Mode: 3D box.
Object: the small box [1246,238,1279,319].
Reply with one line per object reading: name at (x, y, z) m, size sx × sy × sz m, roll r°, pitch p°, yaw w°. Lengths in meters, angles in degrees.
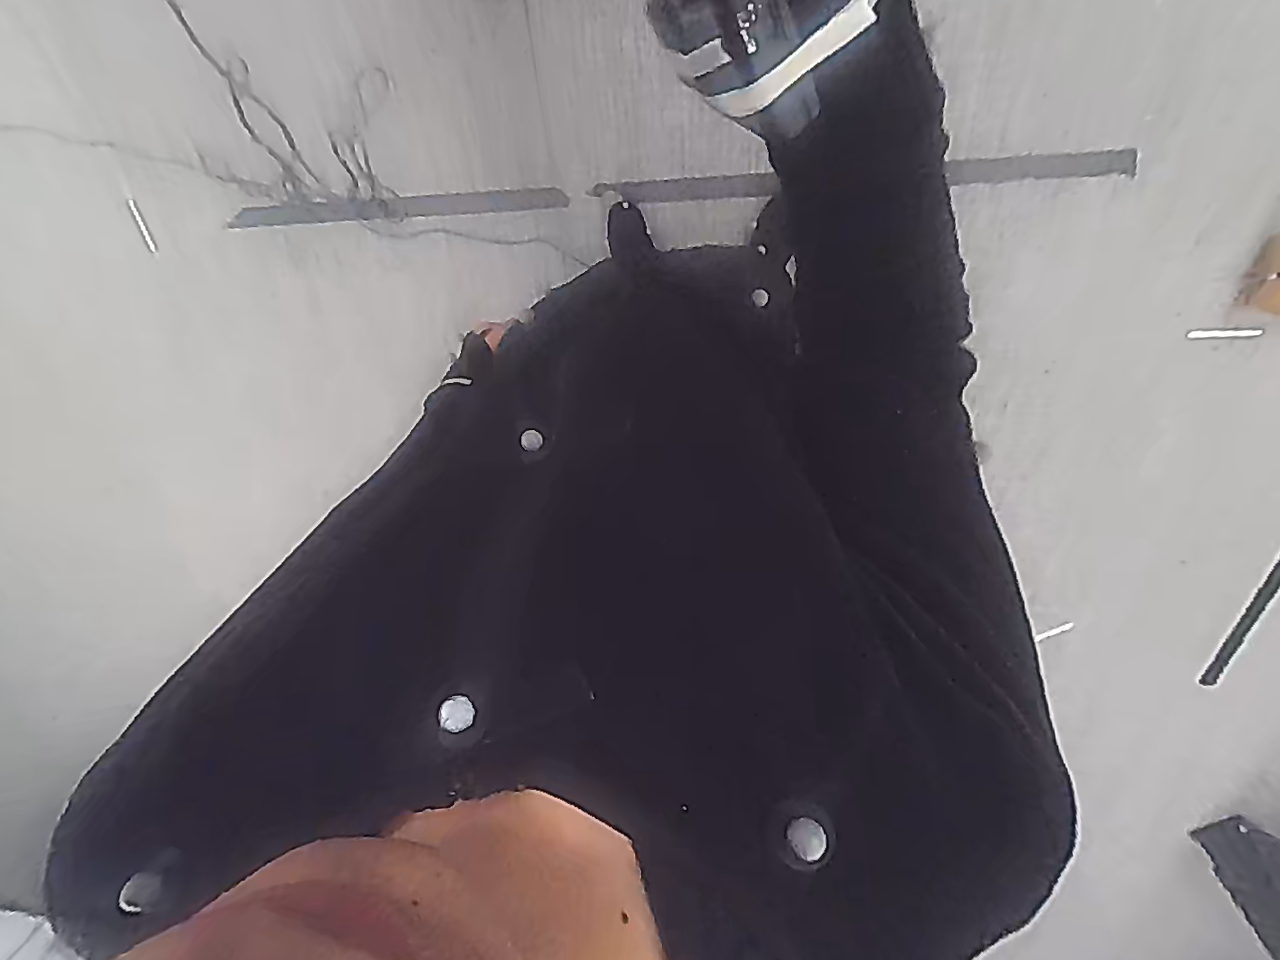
small box at (1.490, -0.437, 1.153) m, size 0.179 × 0.176 × 0.168 m, roll -2°, pitch 120°, yaw 12°
